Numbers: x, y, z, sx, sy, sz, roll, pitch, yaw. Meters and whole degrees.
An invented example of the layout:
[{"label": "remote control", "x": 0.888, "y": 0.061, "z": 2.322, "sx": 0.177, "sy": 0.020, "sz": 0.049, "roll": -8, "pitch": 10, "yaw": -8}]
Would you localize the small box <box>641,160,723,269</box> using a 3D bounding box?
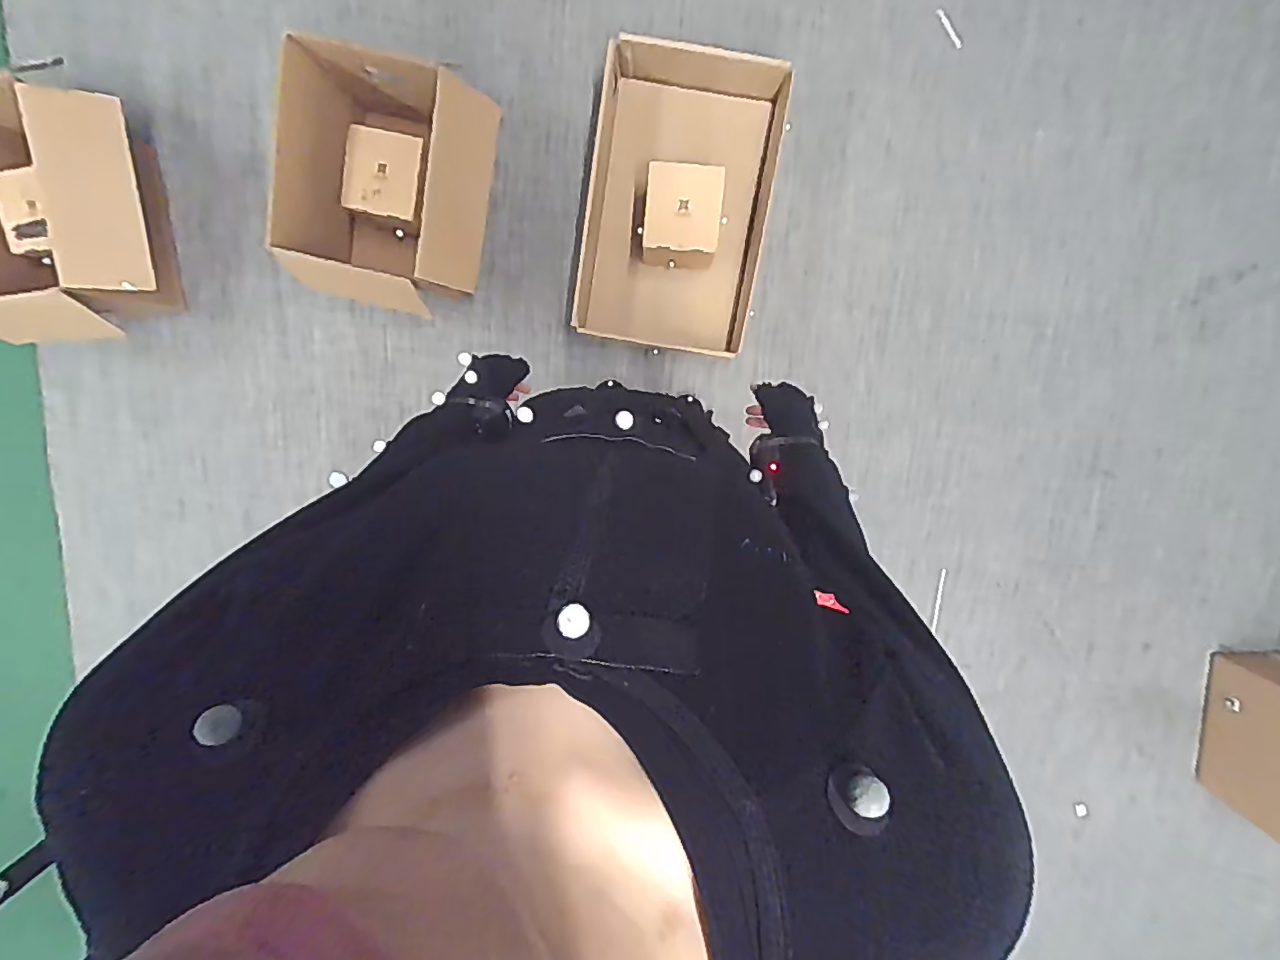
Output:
[{"label": "small box", "x": 0.089, "y": -0.598, "z": 1.236, "sx": 0.168, "sy": 0.176, "sz": 0.179, "roll": 5, "pitch": 100, "yaw": 0}]
